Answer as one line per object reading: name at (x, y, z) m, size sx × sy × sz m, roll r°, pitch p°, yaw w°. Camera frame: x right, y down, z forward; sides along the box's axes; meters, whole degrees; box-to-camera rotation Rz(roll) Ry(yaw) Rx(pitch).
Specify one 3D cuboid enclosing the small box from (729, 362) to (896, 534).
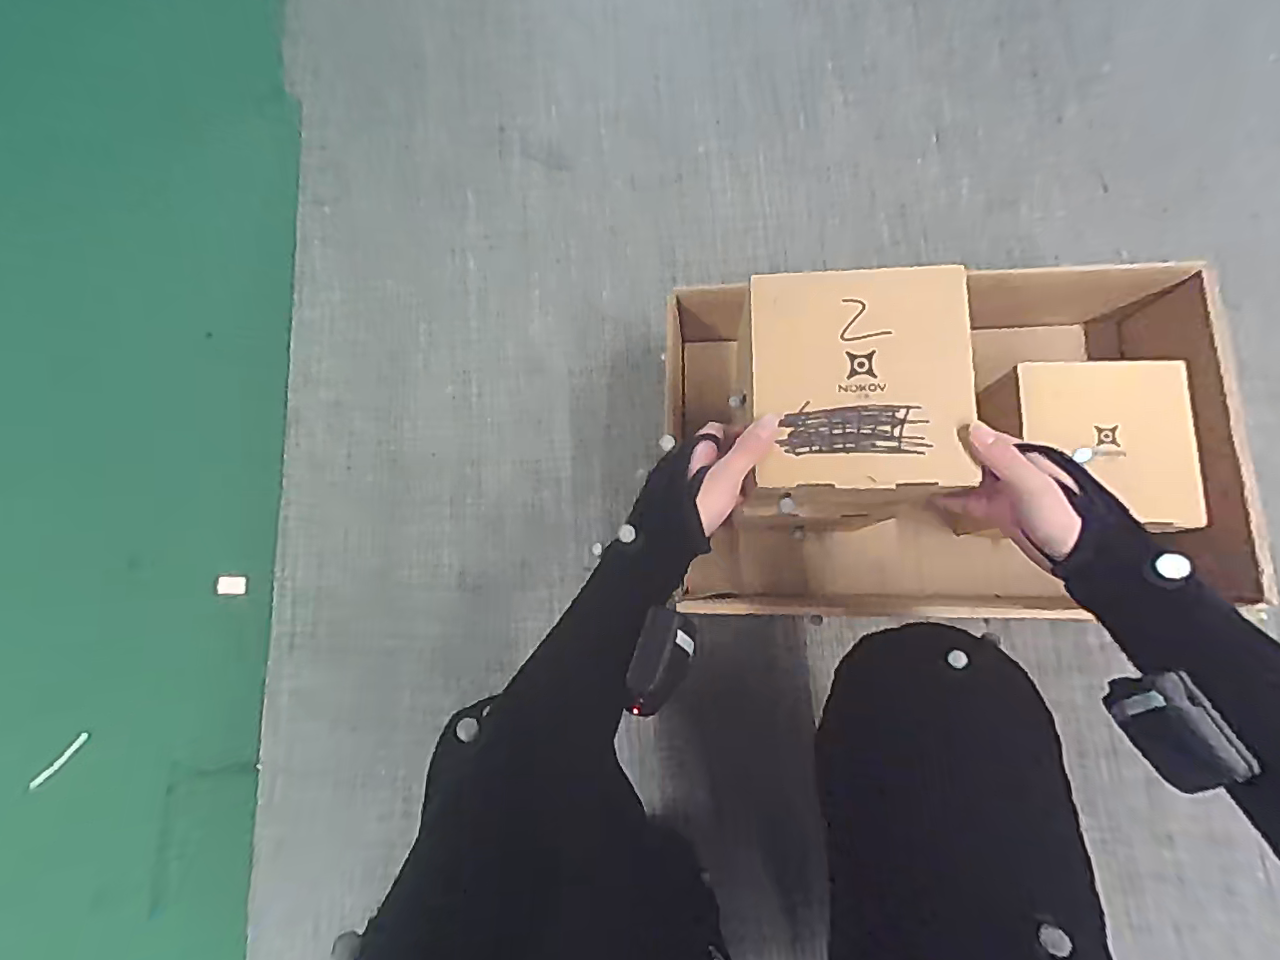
small box at (0.198, -0.030, 0.668) m, size 0.168 × 0.176 × 0.179 m, roll 0°, pitch 79°, yaw 7°
